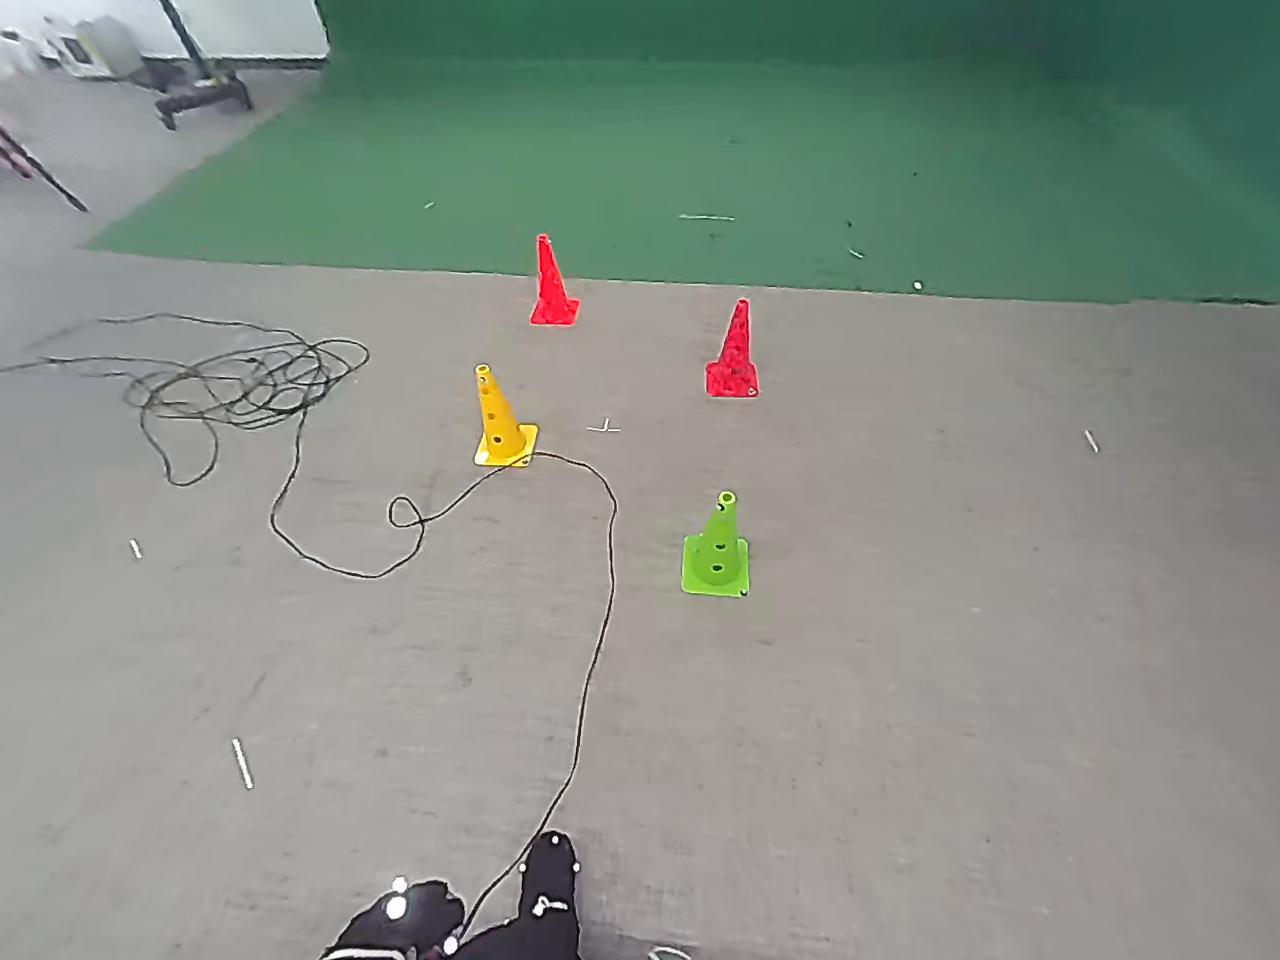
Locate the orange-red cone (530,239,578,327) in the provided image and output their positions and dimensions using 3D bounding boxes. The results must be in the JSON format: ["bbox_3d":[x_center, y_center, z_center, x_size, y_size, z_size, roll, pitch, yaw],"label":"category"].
[{"bbox_3d":[-0.398,-0.866,2.343,0.198,0.360,0.199,4,53,6],"label":"orange-red cone"}]

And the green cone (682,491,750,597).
[{"bbox_3d":[0.224,0.153,1.513,0.202,0.368,0.200,2,51,5],"label":"green cone"}]

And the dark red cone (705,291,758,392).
[{"bbox_3d":[0.355,-0.519,2.012,0.202,0.394,0.201,0,50,2],"label":"dark red cone"}]
